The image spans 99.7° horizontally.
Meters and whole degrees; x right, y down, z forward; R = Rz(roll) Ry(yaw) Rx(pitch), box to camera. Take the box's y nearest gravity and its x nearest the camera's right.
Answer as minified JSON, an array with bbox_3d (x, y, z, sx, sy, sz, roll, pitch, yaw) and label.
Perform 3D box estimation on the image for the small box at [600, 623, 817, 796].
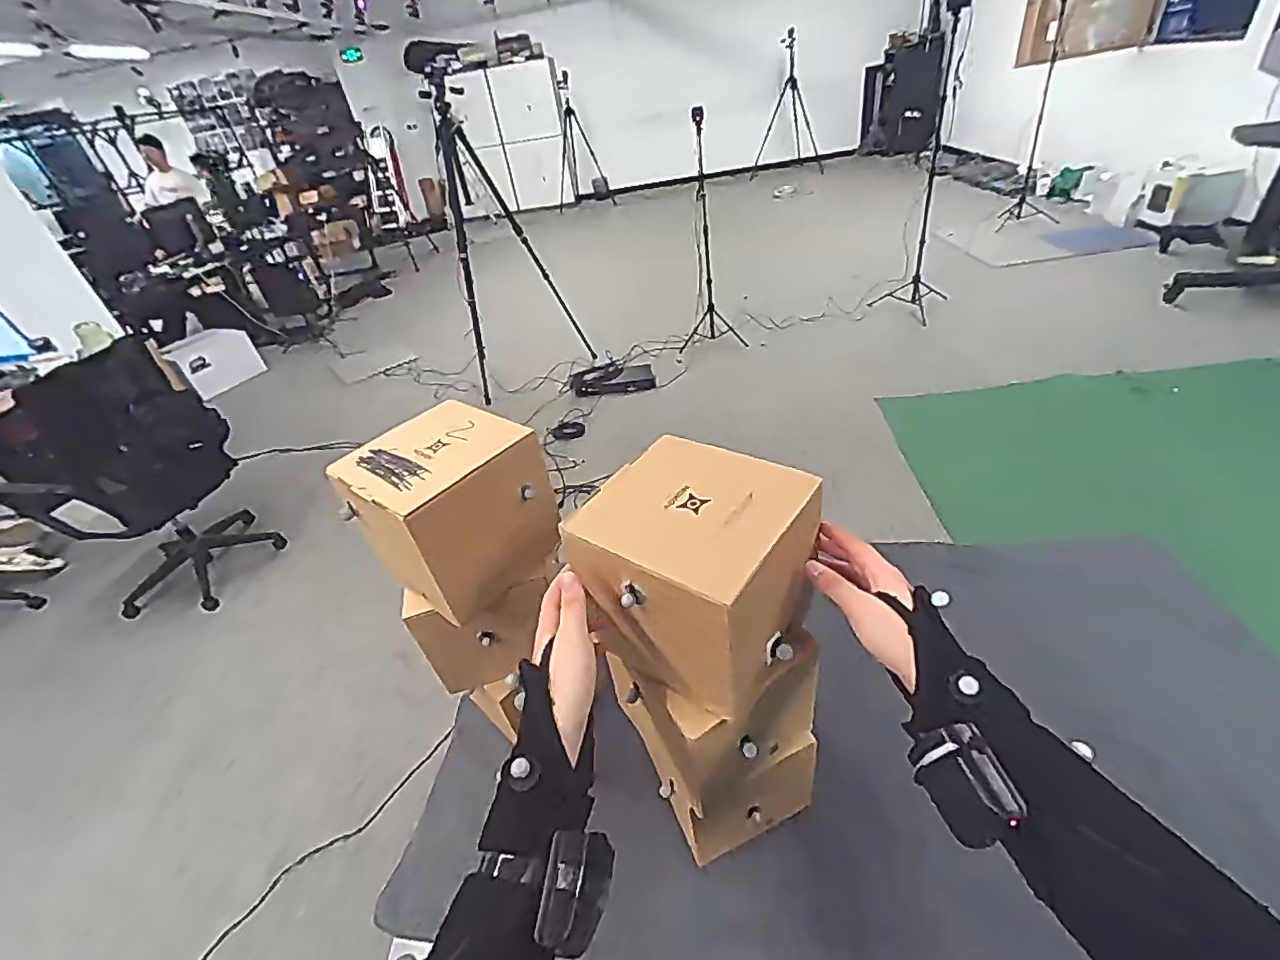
[{"bbox_3d":[0.075,0.216,0.607,0.168,0.176,0.179,-28,39,-22],"label":"small box"}]

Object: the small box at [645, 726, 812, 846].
[{"bbox_3d":[0.104,0.341,0.708,0.168,0.176,0.179,-20,37,-13],"label":"small box"}]

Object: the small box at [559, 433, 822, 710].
[{"bbox_3d":[0.054,0.082,0.517,0.179,0.176,0.168,20,46,33],"label":"small box"}]

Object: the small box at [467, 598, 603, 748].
[{"bbox_3d":[-0.183,0.283,0.858,0.179,0.176,0.168,24,49,37],"label":"small box"}]

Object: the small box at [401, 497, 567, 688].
[{"bbox_3d":[-0.208,0.156,0.755,0.179,0.176,0.168,-17,38,-7],"label":"small box"}]
